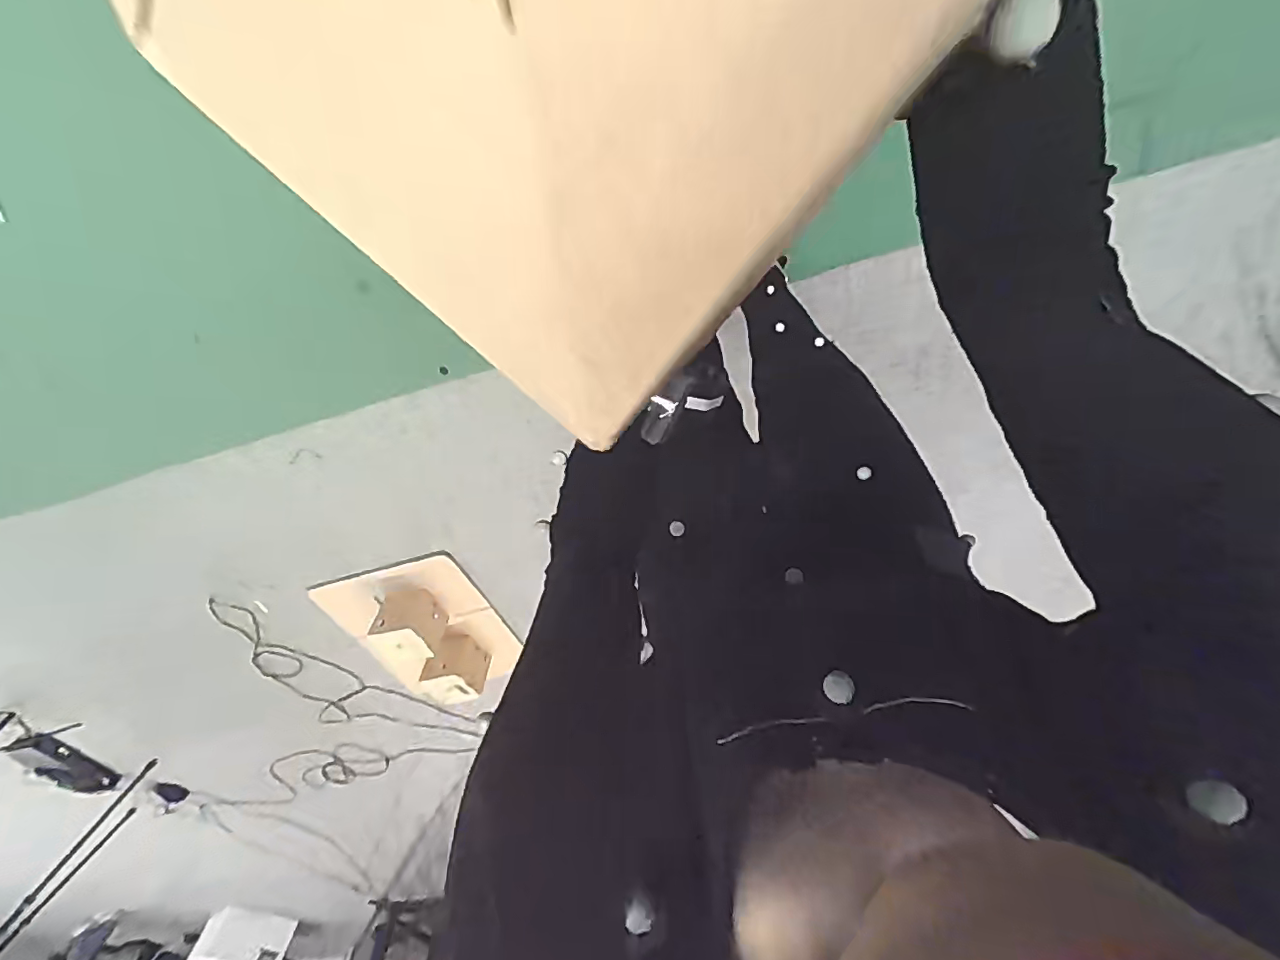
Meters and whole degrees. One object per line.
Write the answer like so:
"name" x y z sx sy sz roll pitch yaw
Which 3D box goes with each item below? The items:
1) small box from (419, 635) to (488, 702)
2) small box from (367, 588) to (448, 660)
"small box" -0.698 0.711 2.055 0.179 0.176 0.168 -17 125 15
"small box" -0.811 0.504 1.905 0.179 0.176 0.168 -13 127 11
